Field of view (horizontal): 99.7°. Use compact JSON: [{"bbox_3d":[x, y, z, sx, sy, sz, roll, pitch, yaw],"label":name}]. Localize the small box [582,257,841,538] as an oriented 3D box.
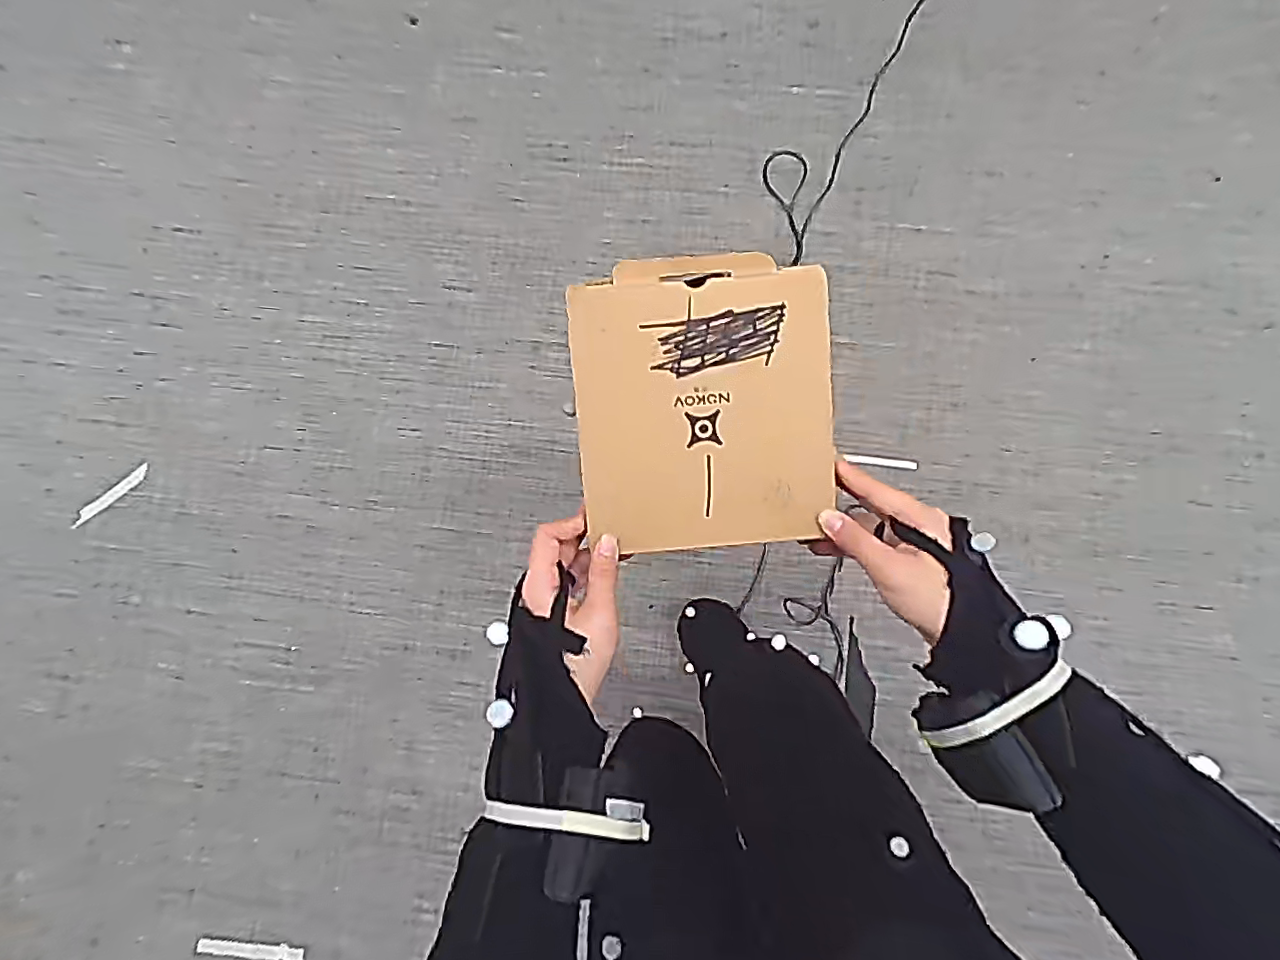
[{"bbox_3d":[0.046,-0.059,0.432,0.168,0.176,0.179,-5,96,0],"label":"small box"}]
